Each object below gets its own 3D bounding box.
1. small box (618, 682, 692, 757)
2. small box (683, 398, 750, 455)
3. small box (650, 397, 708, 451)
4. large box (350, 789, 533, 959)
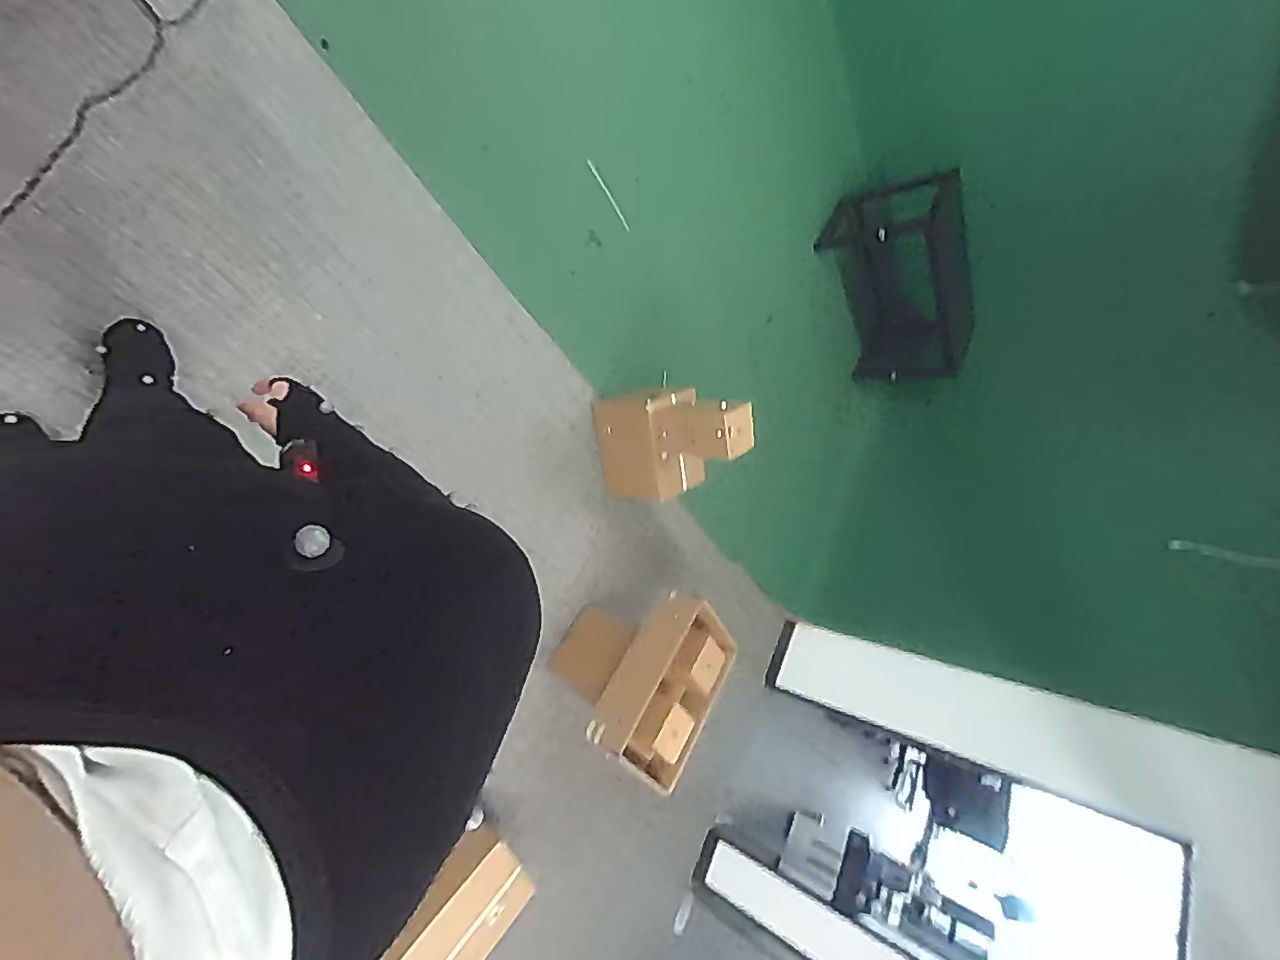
[{"bbox_3d":[0.054,0.862,1.959,0.168,0.176,0.179,-55,131,-28],"label":"small box"},{"bbox_3d":[0.278,-0.199,1.958,0.179,0.176,0.168,-28,117,-43],"label":"small box"},{"bbox_3d":[0.163,-0.220,2.073,0.179,0.176,0.168,-27,116,-42],"label":"small box"},{"bbox_3d":[-0.639,1.337,1.773,0.408,0.320,0.320,-42,126,-38],"label":"large box"}]
